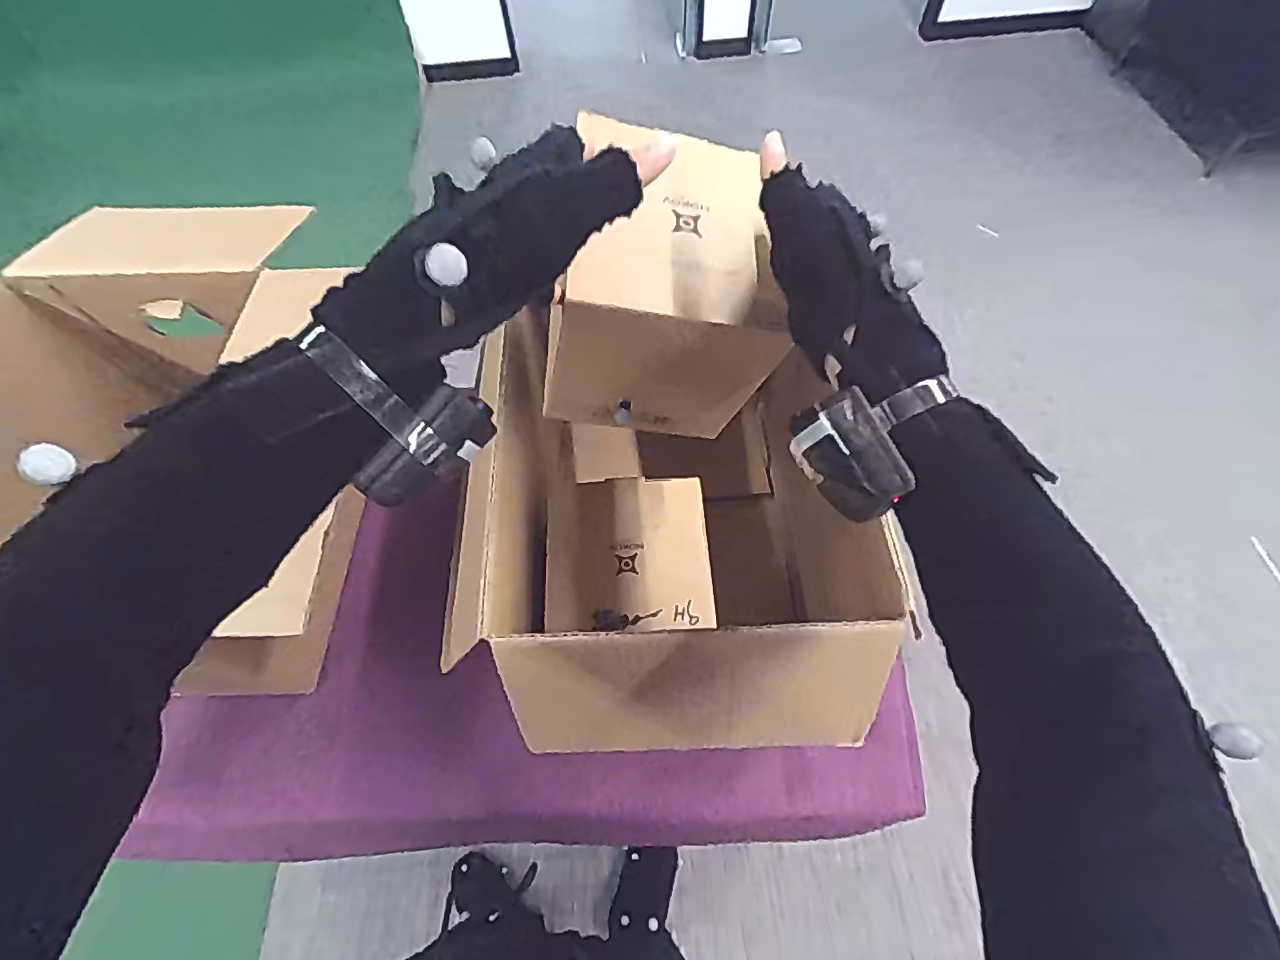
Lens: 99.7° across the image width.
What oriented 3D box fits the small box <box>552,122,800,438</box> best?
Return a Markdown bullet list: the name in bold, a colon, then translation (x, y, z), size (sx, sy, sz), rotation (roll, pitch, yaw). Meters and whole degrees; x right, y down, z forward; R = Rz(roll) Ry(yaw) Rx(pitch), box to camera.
- **small box**: translation (0.017, -0.158, 0.471), size (0.168, 0.176, 0.179), rotation (6, 67, -12)
